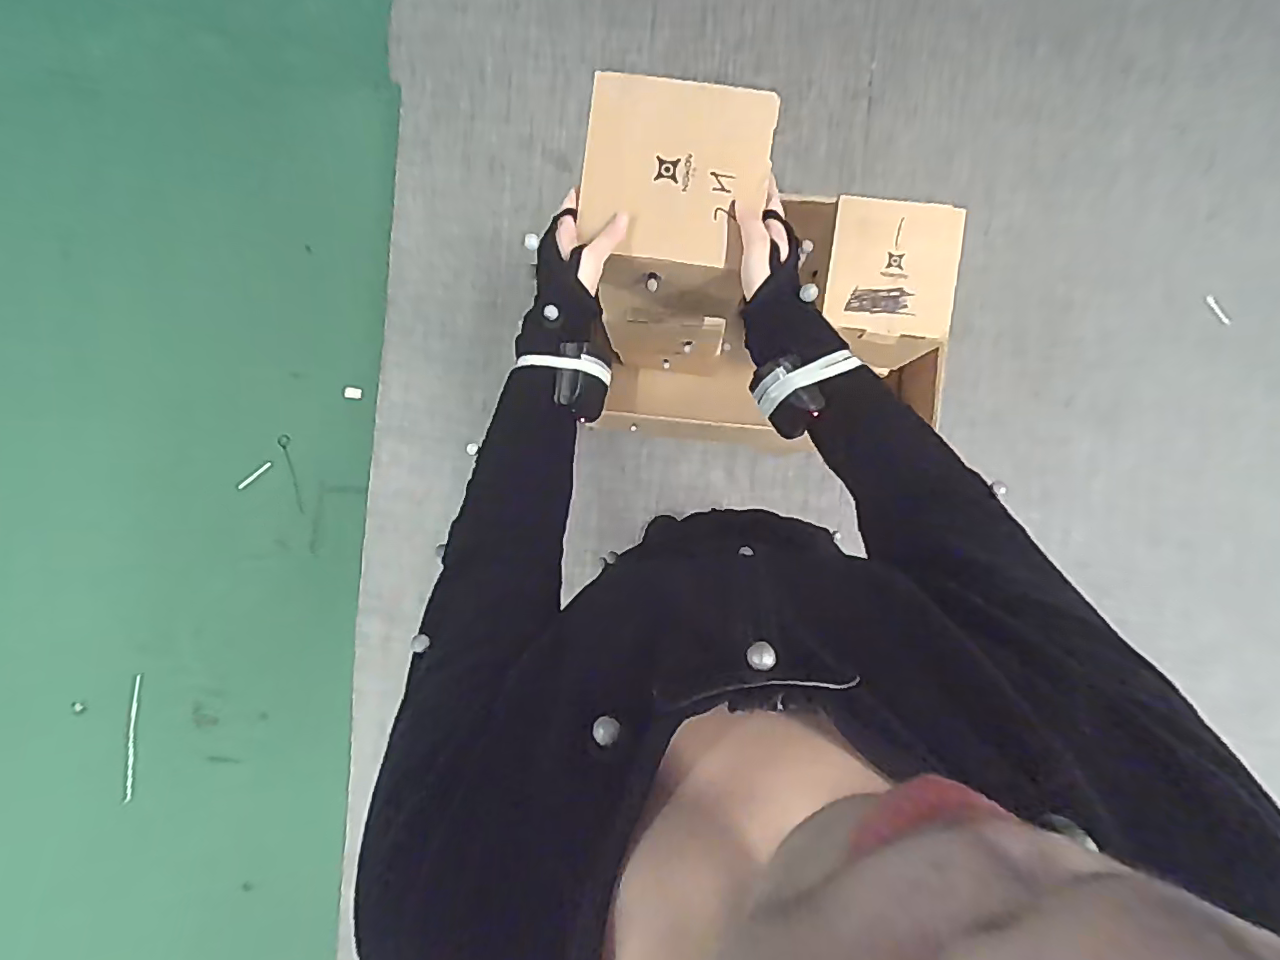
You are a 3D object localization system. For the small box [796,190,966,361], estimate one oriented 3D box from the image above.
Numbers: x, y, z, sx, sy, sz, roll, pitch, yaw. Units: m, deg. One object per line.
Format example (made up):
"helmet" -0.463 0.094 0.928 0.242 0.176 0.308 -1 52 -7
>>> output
"small box" 0.330 -0.279 0.776 0.168 0.176 0.179 9 89 4

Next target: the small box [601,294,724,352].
"small box" 0.044 -0.295 0.795 0.168 0.176 0.179 6 89 3

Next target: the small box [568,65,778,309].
"small box" 0.031 -0.293 0.578 0.179 0.176 0.168 8 93 0
